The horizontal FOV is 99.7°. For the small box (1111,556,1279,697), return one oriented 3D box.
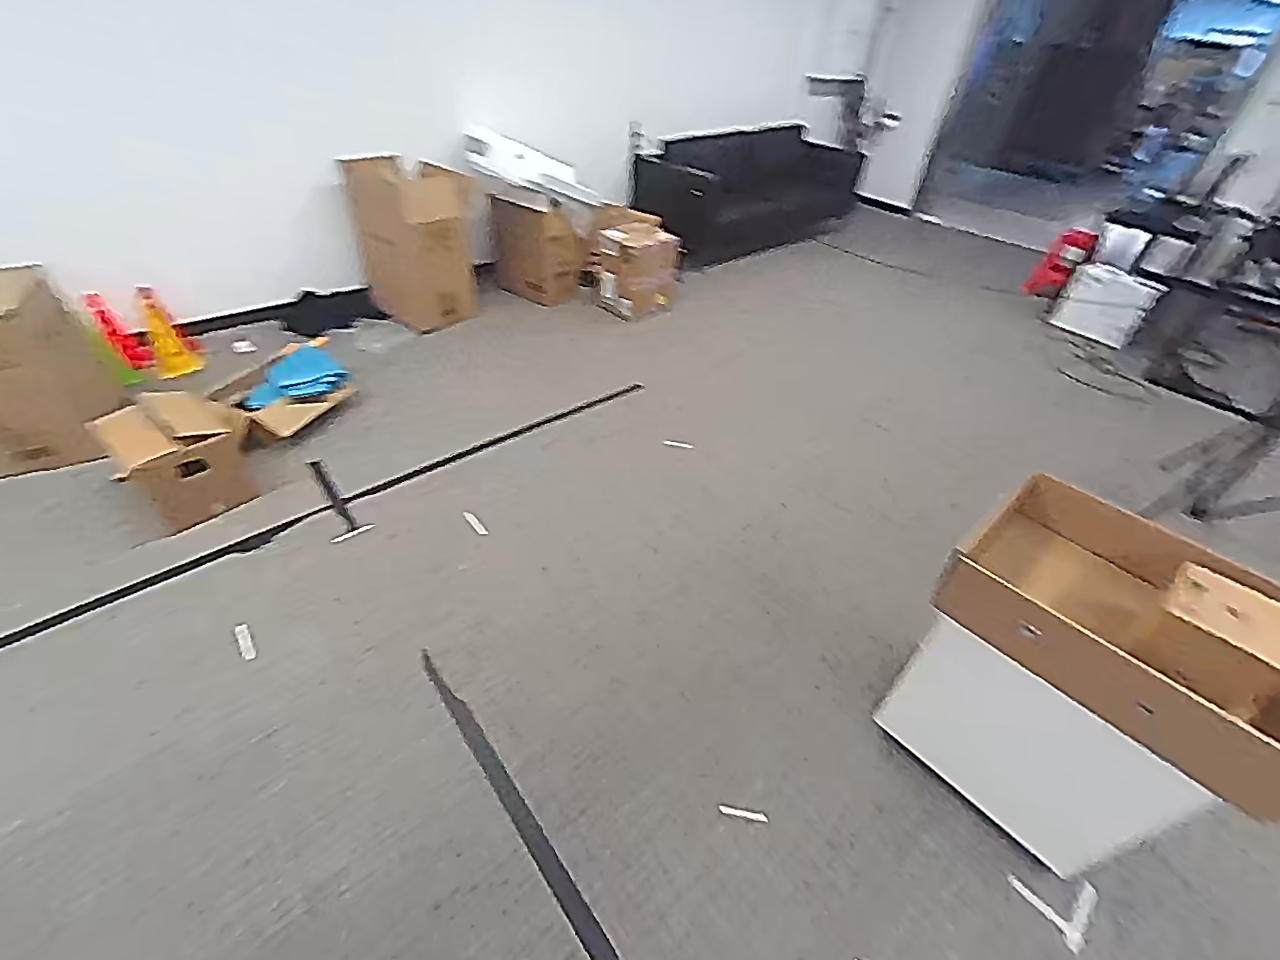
[{"bbox_3d":[1.074,0.288,1.040,0.168,0.176,0.179,-32,51,-28],"label":"small box"}]
